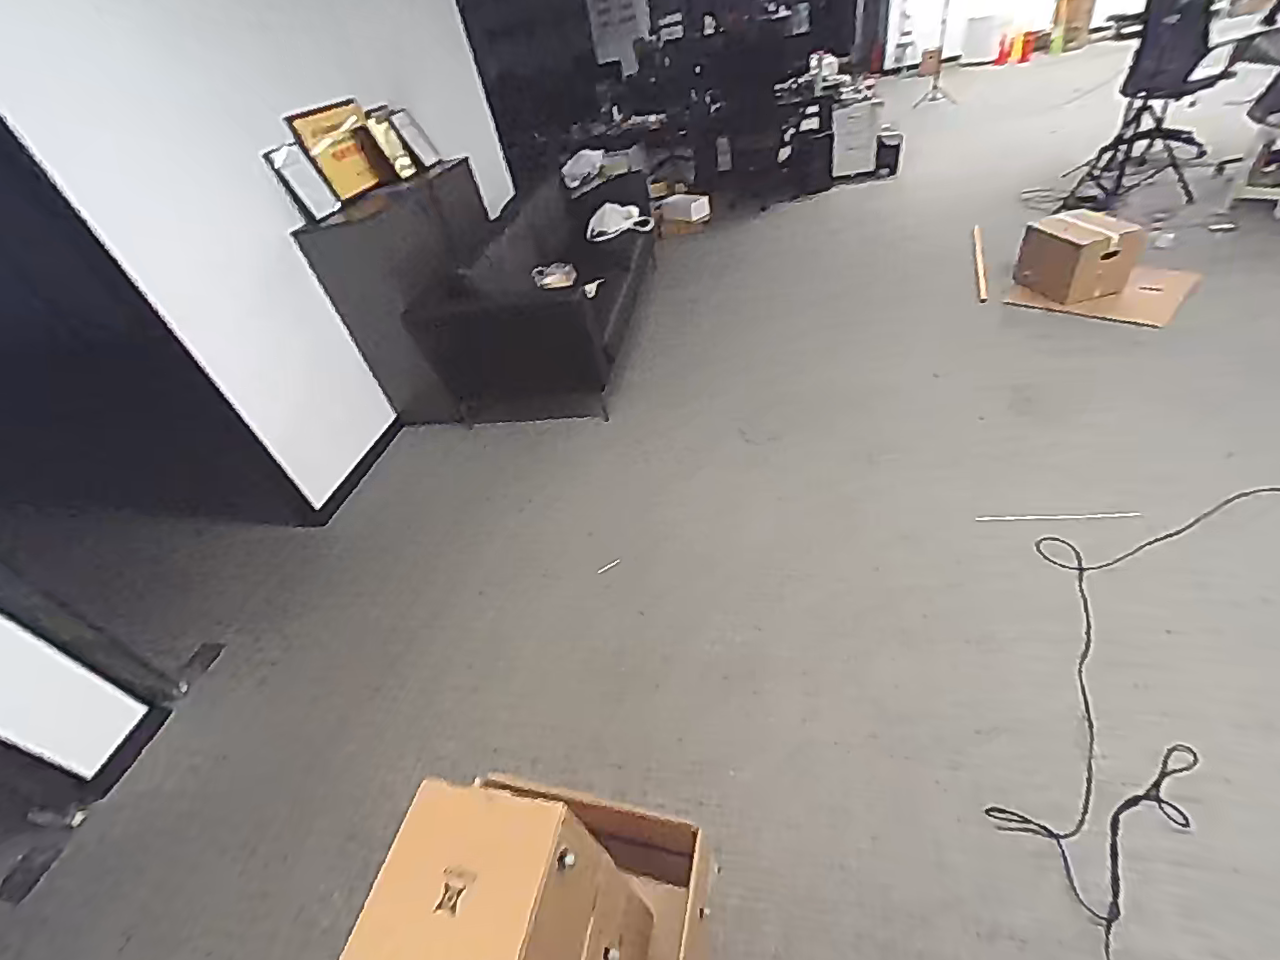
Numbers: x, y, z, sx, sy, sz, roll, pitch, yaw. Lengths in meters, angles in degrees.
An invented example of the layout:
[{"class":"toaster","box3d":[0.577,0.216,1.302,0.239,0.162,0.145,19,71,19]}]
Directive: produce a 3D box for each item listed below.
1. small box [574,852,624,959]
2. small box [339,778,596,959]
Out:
[{"class":"small box","box3d":[-0.128,0.554,0.657,0.179,0.176,0.168,1,42,15]},{"class":"small box","box3d":[-0.156,0.436,0.547,0.168,0.176,0.179,0,42,16]}]
